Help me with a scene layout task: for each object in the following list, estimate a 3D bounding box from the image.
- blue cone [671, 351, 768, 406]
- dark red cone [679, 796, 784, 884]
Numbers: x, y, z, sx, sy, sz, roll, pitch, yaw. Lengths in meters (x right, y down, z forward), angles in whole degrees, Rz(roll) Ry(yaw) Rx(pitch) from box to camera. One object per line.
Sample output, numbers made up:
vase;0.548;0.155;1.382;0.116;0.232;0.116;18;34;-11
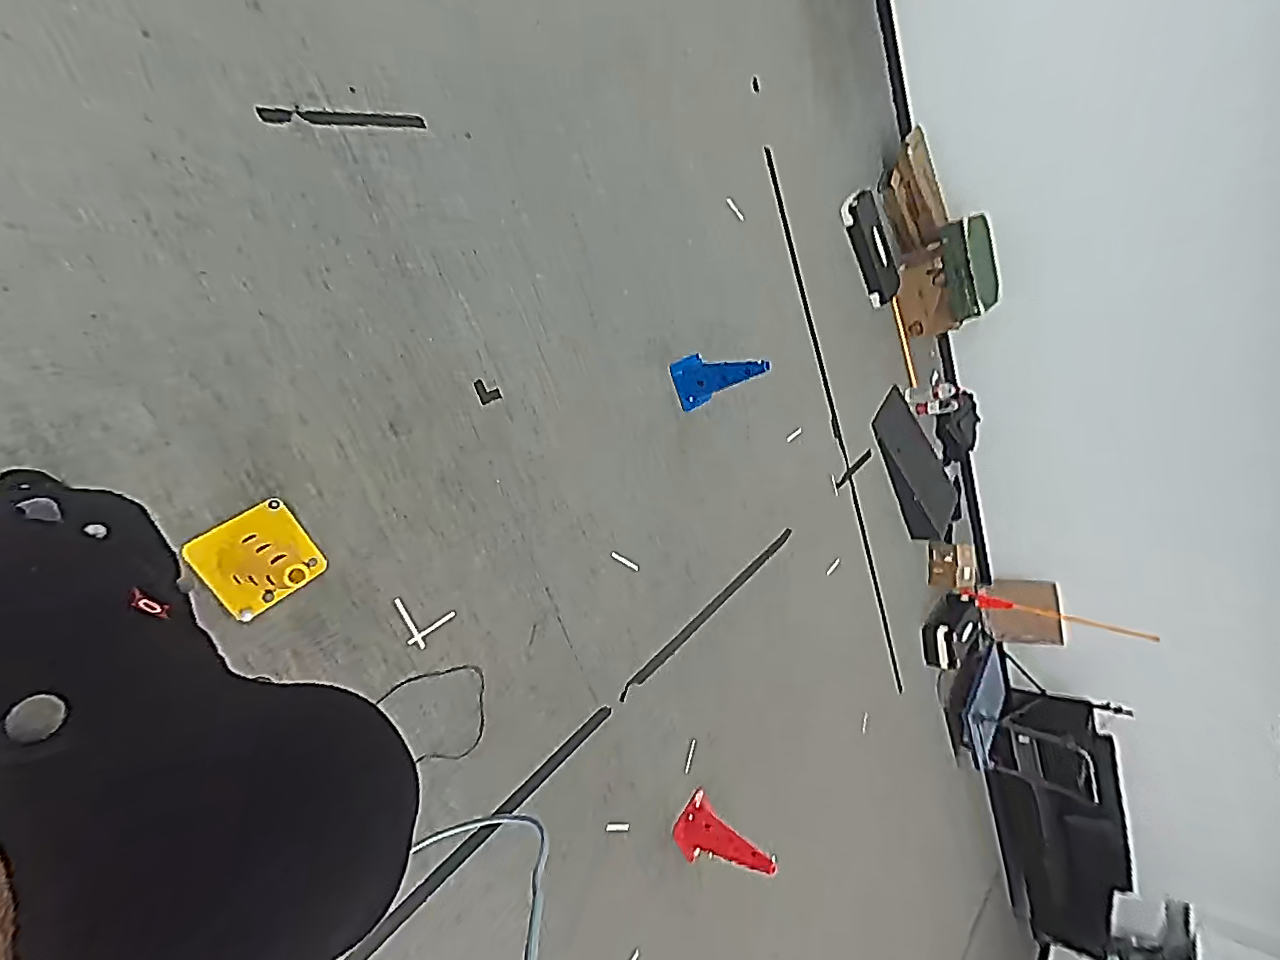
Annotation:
blue cone;0.317;-0.409;2.036;0.193;0.380;0.192;-32;109;-40
dark red cone;0.347;1.349;1.966;0.202;0.394;0.201;-42;115;-37
